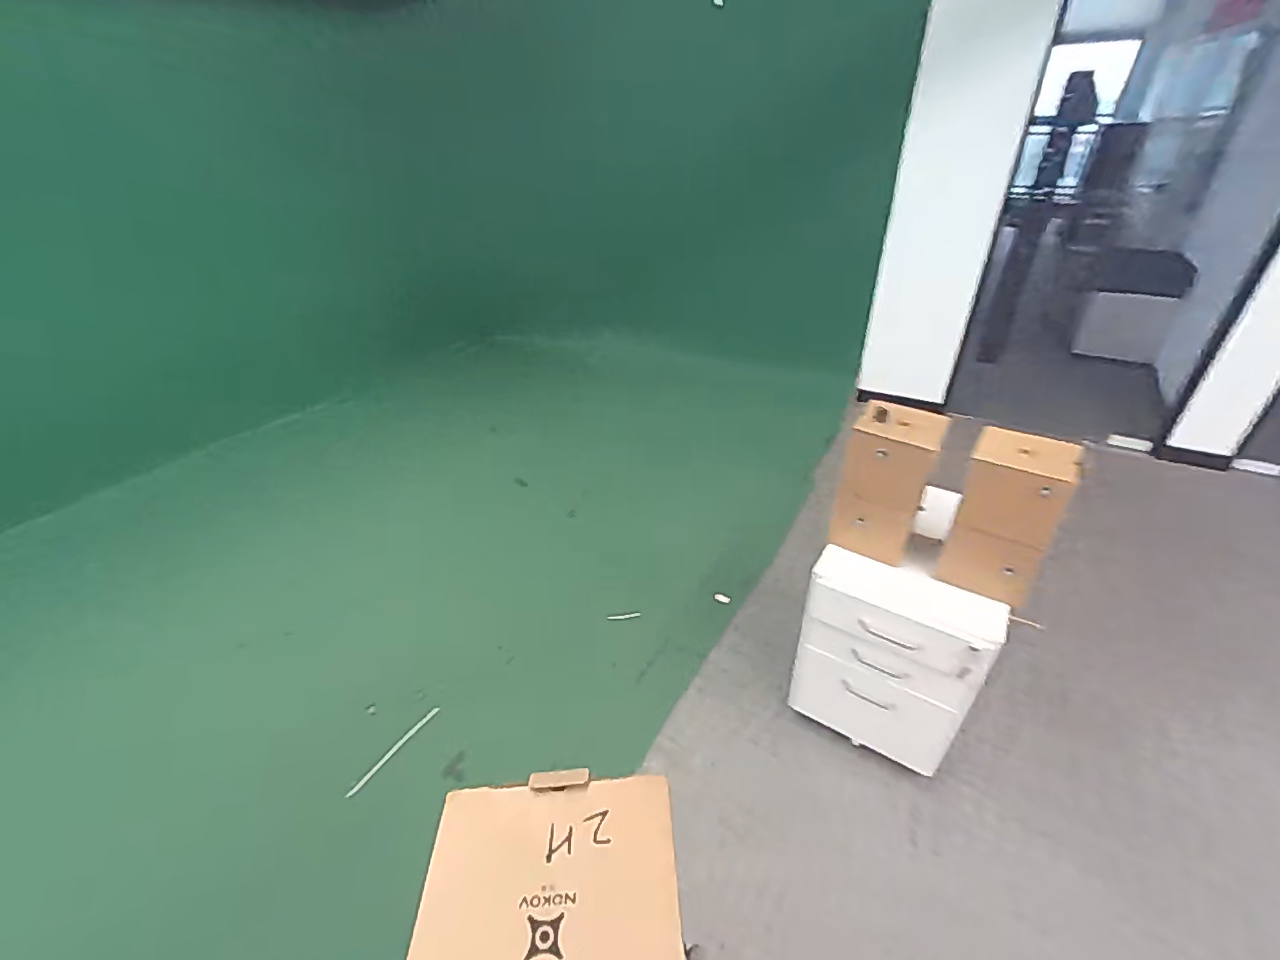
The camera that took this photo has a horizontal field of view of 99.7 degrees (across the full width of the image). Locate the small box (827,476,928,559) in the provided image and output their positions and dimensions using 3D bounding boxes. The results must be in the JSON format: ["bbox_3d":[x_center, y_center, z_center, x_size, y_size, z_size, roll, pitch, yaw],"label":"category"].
[{"bbox_3d":[0.581,0.067,1.337,0.179,0.176,0.168,20,42,29],"label":"small box"}]

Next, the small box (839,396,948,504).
[{"bbox_3d":[0.577,-0.069,1.244,0.179,0.176,0.168,21,42,27],"label":"small box"}]

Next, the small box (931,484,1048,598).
[{"bbox_3d":[0.787,0.140,1.223,0.179,0.176,0.168,17,39,30],"label":"small box"}]
